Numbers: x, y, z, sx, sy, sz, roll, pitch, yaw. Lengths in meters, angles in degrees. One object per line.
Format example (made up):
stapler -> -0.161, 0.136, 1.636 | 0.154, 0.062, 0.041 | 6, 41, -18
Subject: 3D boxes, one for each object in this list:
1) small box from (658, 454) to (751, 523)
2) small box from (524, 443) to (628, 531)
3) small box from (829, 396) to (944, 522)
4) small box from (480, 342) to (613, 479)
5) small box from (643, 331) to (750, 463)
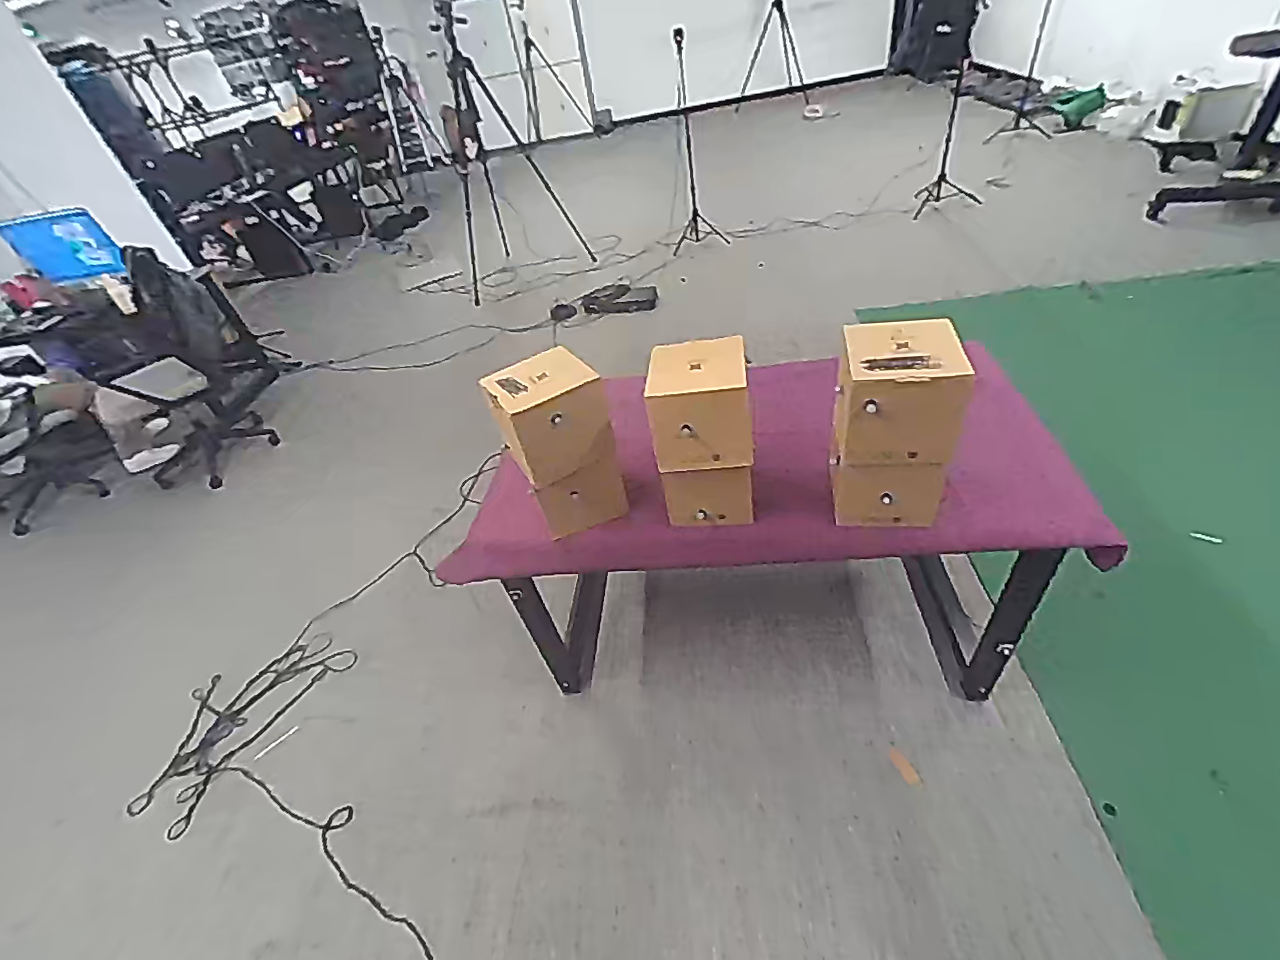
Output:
small box -> 0.135, -0.034, 1.089 | 0.168, 0.176, 0.179 | -4, 42, 12
small box -> -0.141, -0.020, 1.139 | 0.179, 0.176, 0.168 | -20, 42, -8
small box -> 0.449, -0.037, 1.013 | 0.168, 0.176, 0.179 | 0, 43, 14
small box -> -0.171, -0.131, 1.020 | 0.179, 0.176, 0.168 | -27, 43, -18
small box -> 0.107, -0.142, 0.970 | 0.168, 0.176, 0.179 | -4, 40, 11
